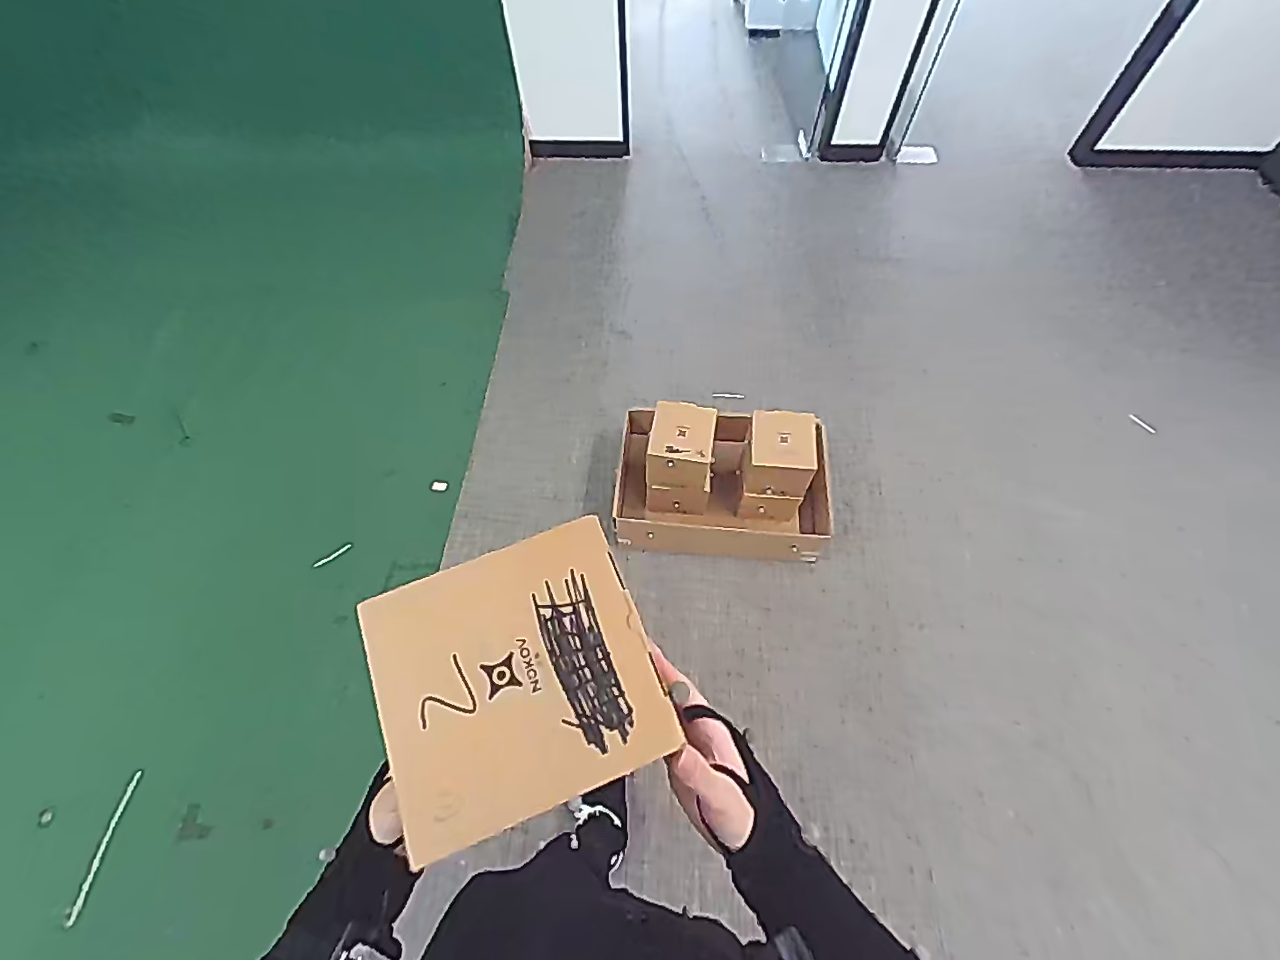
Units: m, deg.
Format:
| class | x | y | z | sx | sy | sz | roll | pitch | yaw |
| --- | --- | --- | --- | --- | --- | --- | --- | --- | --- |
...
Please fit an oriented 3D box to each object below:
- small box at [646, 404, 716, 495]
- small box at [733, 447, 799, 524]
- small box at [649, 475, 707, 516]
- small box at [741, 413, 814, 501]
| class | x | y | z | sx | sy | sz | roll | pitch | yaw |
| --- | --- | --- | --- | --- | --- | --- | --- | --- | --- |
| small box | 0.110 | -0.082 | 1.497 | 0.168 | 0.176 | 0.179 | 9 | 61 | 5 |
| small box | 0.376 | 0.020 | 1.630 | 0.168 | 0.176 | 0.179 | 4 | 61 | 3 |
| small box | 0.114 | -0.001 | 1.641 | 0.168 | 0.176 | 0.179 | 4 | 62 | 1 |
| small box | 0.373 | -0.061 | 1.489 | 0.168 | 0.176 | 0.179 | 5 | 62 | 5 |
